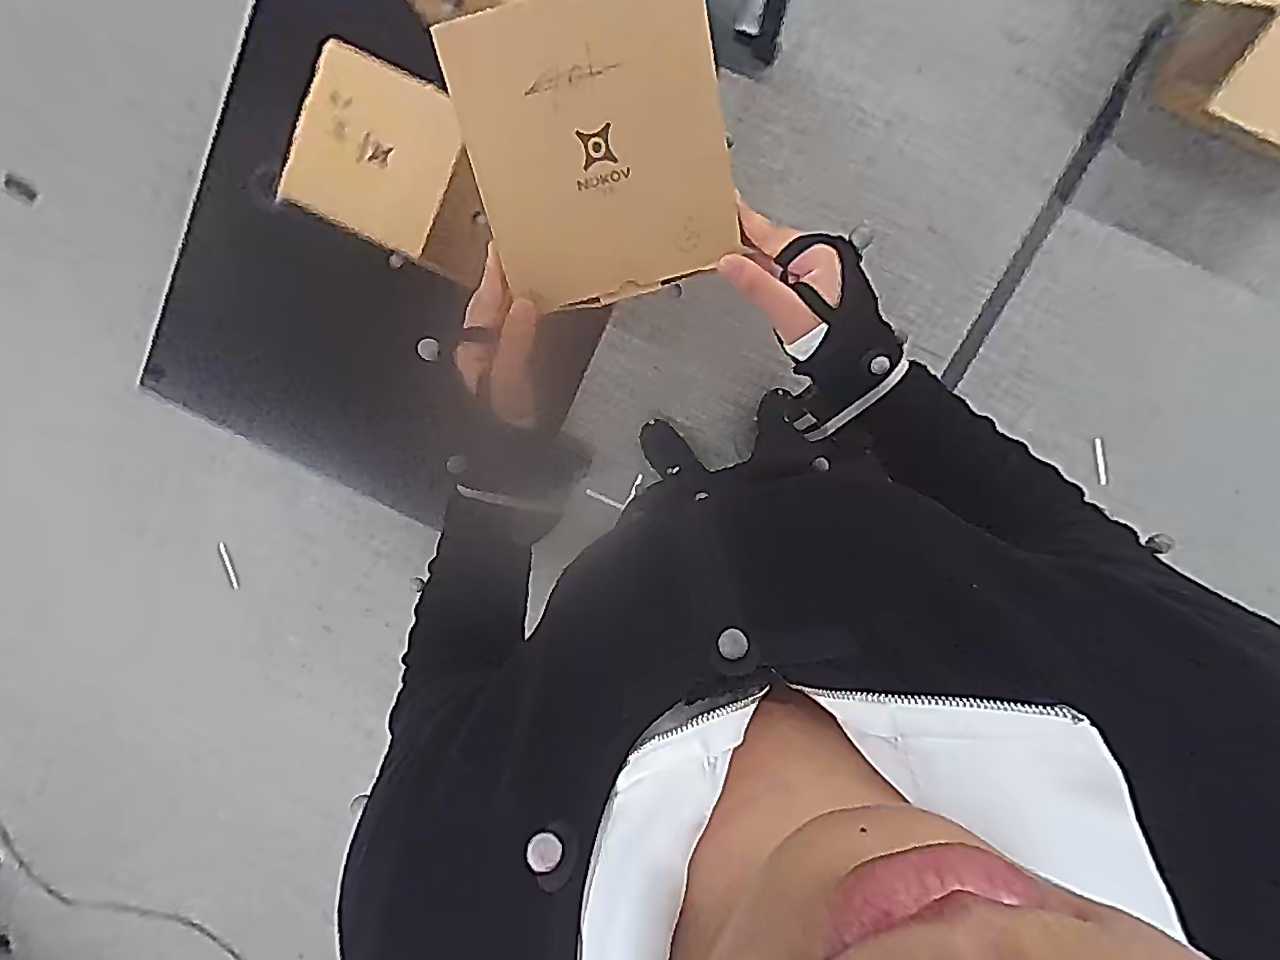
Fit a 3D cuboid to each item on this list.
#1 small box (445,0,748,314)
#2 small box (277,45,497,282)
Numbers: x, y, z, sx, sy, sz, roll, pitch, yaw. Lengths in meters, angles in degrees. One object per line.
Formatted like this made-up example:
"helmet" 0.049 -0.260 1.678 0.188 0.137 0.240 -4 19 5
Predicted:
"small box" -0.022 -0.241 0.422 0.168 0.176 0.179 -12 110 3
"small box" -0.279 -0.359 0.656 0.179 0.176 0.168 26 99 1
